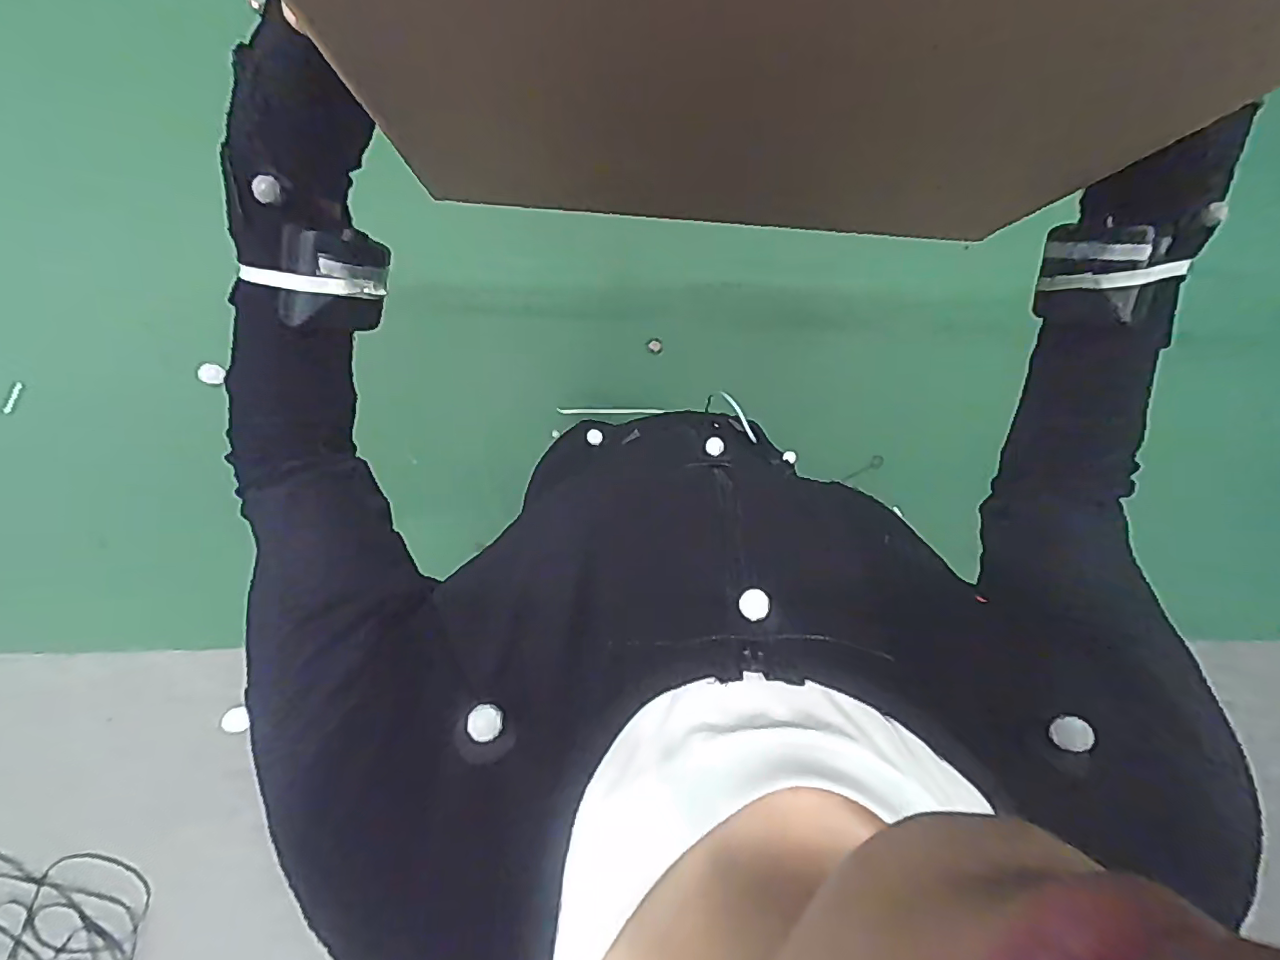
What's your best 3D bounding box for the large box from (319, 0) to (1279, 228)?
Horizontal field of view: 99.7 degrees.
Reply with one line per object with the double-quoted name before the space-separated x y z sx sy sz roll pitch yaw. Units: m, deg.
"large box" 0.071 -0.332 0.232 0.408 0.320 0.320 3 95 -4
